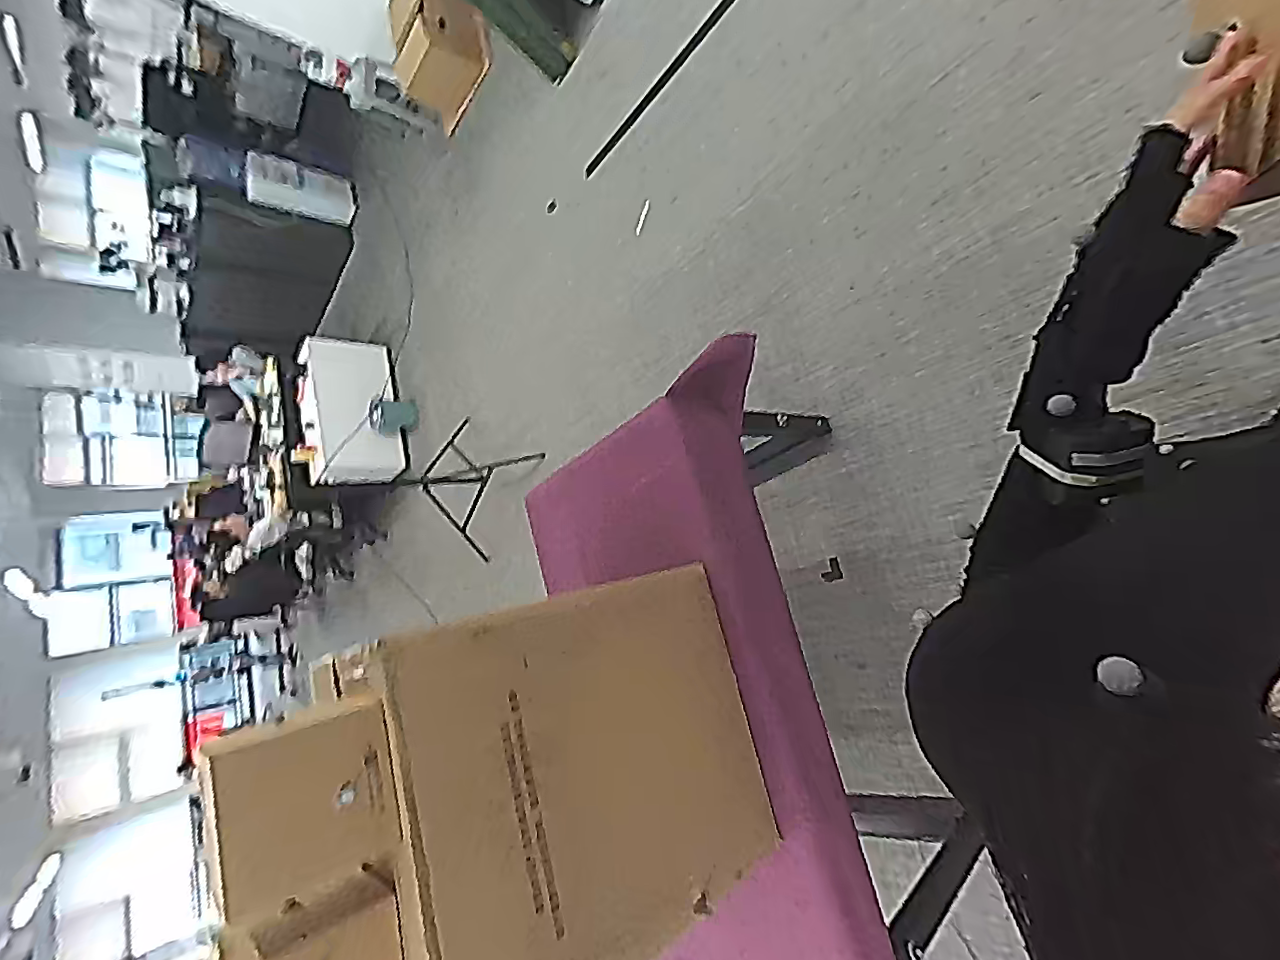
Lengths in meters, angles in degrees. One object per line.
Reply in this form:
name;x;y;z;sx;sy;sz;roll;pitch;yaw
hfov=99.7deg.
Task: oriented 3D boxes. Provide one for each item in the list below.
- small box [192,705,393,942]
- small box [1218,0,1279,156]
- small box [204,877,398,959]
small box;-0.408;0.376;0.635;0.179;0.176;0.168;-23;77;45
small box;0.379;-0.261;0.214;0.168;0.176;0.179;-7;94;28
small box;-0.384;0.605;0.623;0.168;0.176;0.179;-25;74;46
